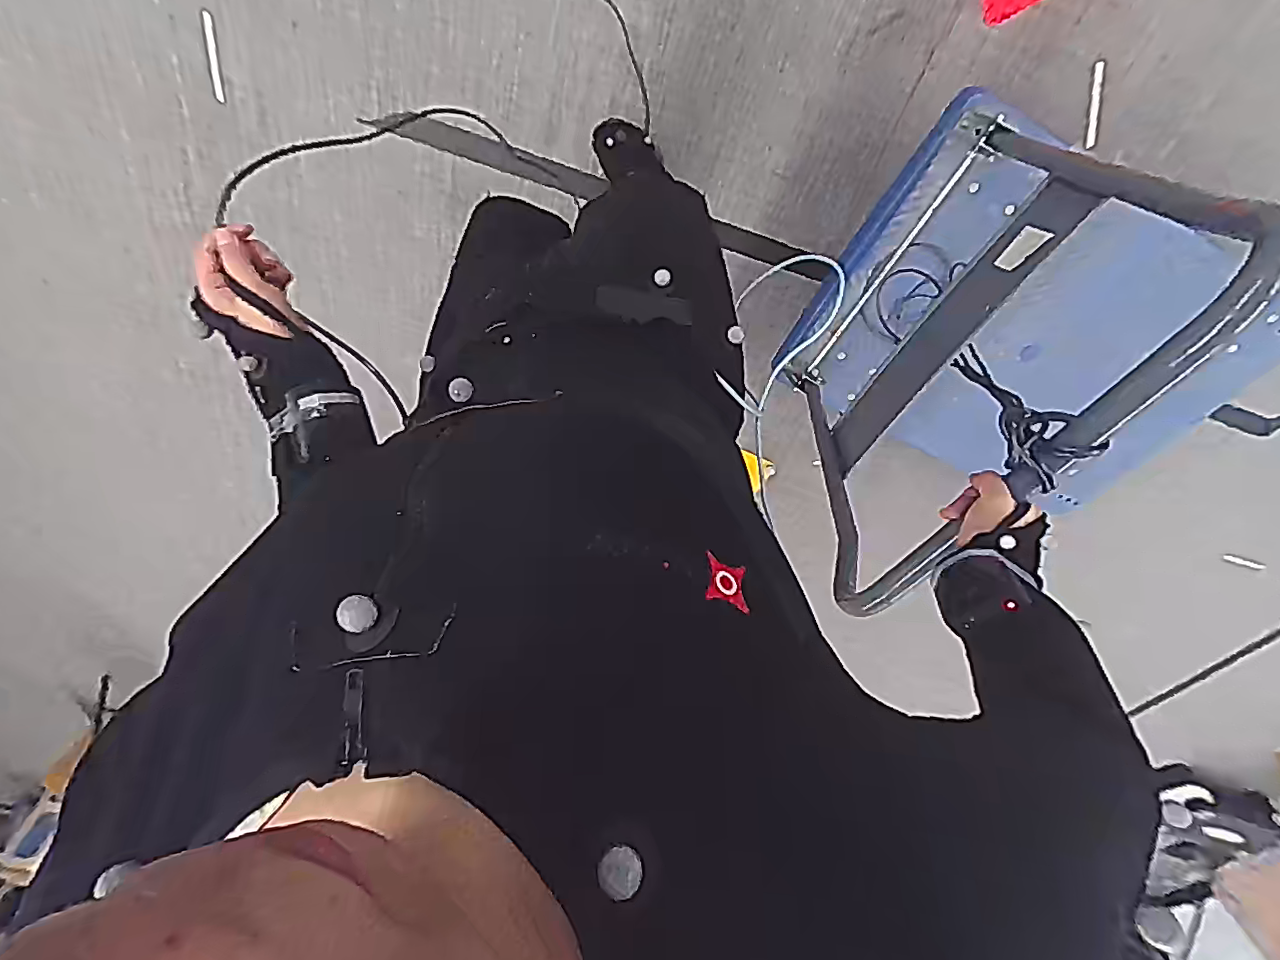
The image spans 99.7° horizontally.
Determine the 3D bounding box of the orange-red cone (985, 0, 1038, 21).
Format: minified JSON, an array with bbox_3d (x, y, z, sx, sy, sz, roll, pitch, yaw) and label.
[{"bbox_3d":[0.621,-0.756,0.700,0.198,0.360,0.199,-20,126,20],"label":"orange-red cone"}]
